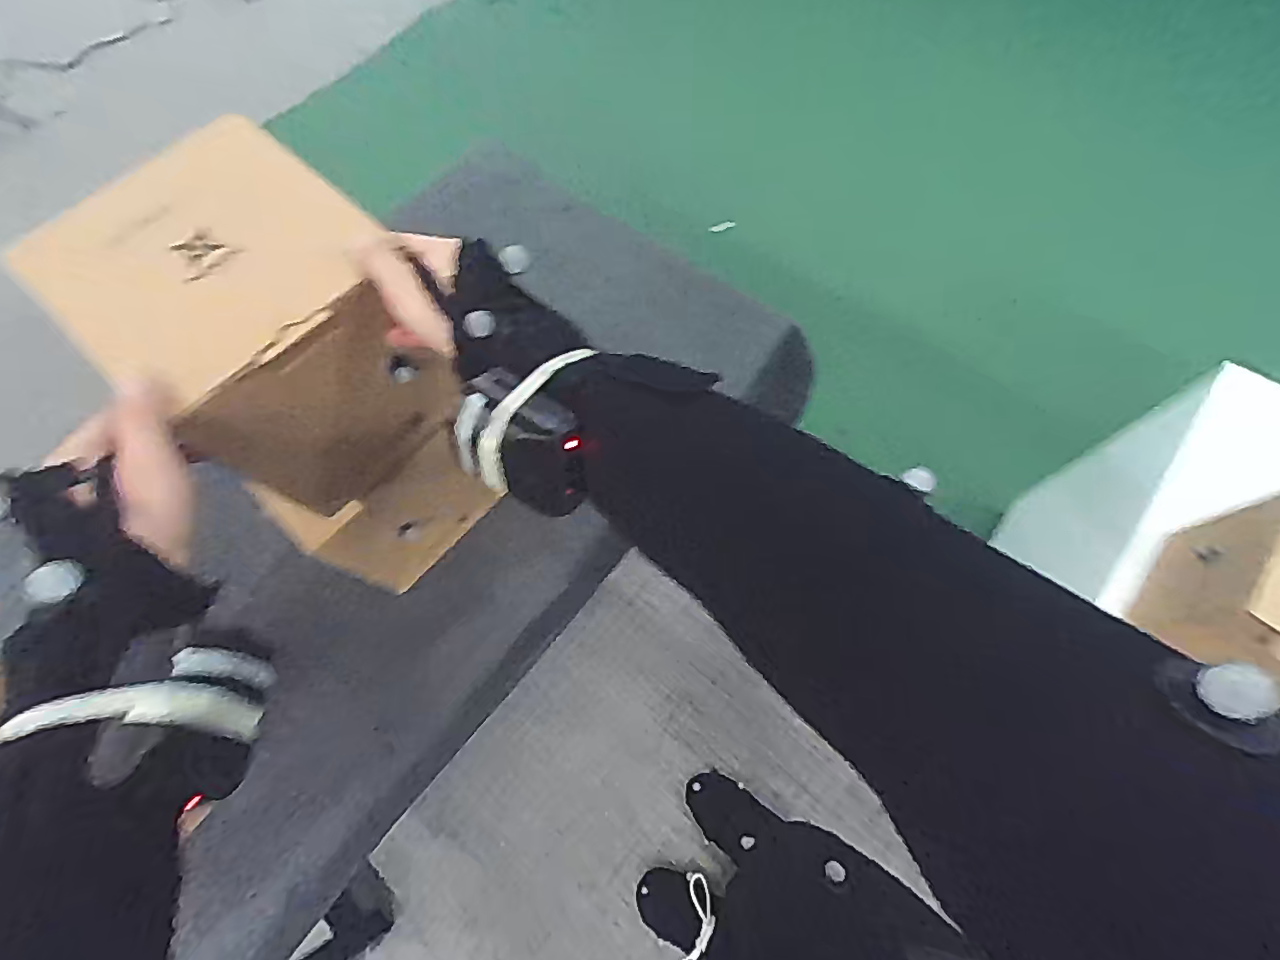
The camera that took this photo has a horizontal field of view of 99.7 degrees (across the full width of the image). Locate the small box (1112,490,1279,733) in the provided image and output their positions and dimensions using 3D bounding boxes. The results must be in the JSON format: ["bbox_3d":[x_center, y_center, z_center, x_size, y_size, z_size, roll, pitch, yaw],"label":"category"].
[{"bbox_3d":[0.666,0.147,0.575,0.168,0.176,0.179,38,73,17],"label":"small box"}]

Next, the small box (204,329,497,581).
[{"bbox_3d":[-0.280,-0.013,0.564,0.179,0.176,0.168,38,74,18],"label":"small box"}]
